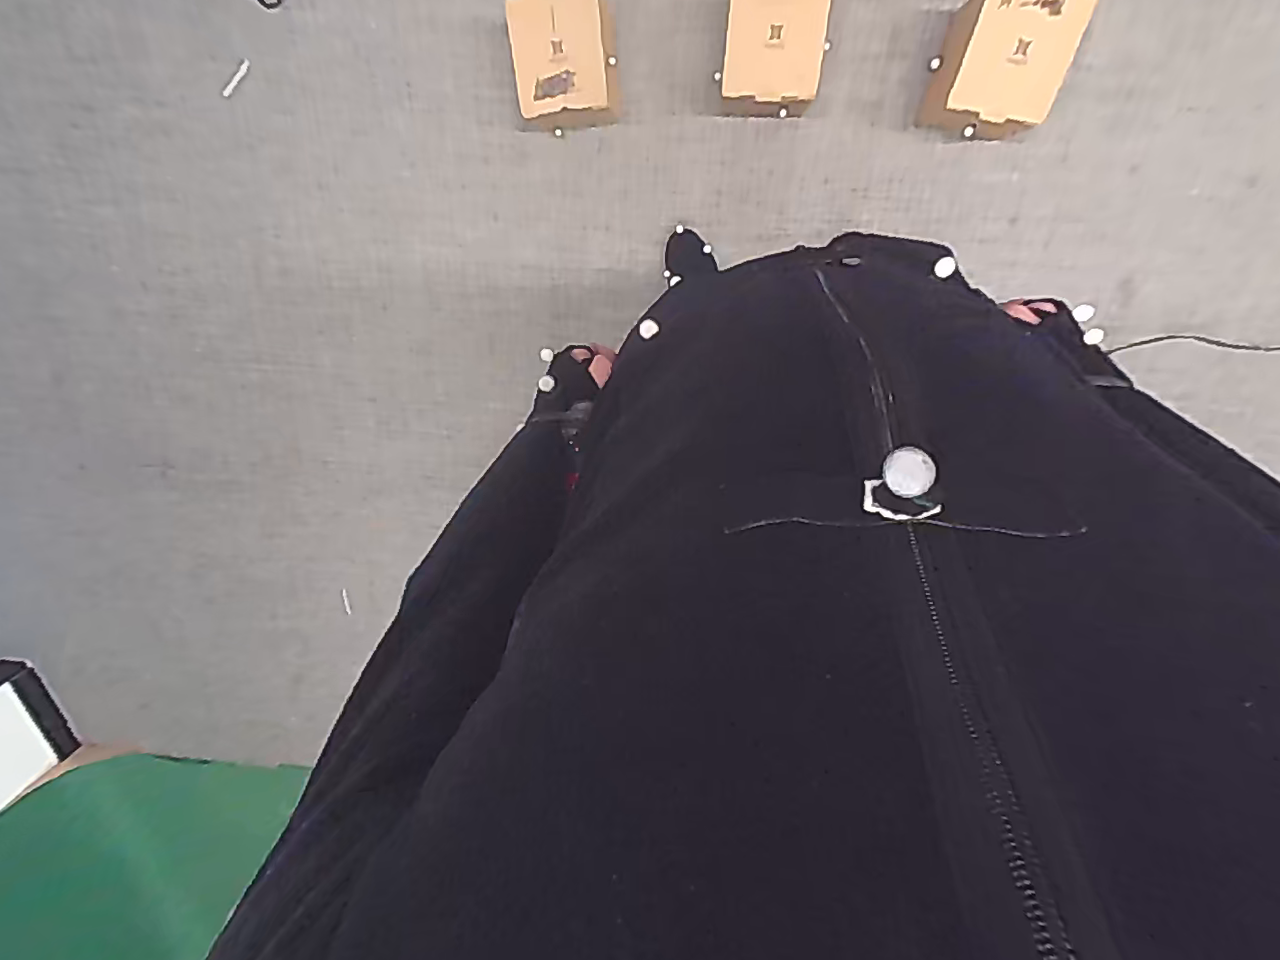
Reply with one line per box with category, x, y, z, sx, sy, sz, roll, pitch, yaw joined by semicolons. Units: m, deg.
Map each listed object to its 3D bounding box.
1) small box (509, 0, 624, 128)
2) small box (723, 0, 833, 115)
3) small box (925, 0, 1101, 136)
small box;-0.127;-0.781;1.020;0.168;0.176;0.179;-2;114;9
small box;0.240;-0.774;0.972;0.168;0.176;0.179;4;115;5
small box;0.625;-0.719;0.940;0.168;0.176;0.179;14;117;3
